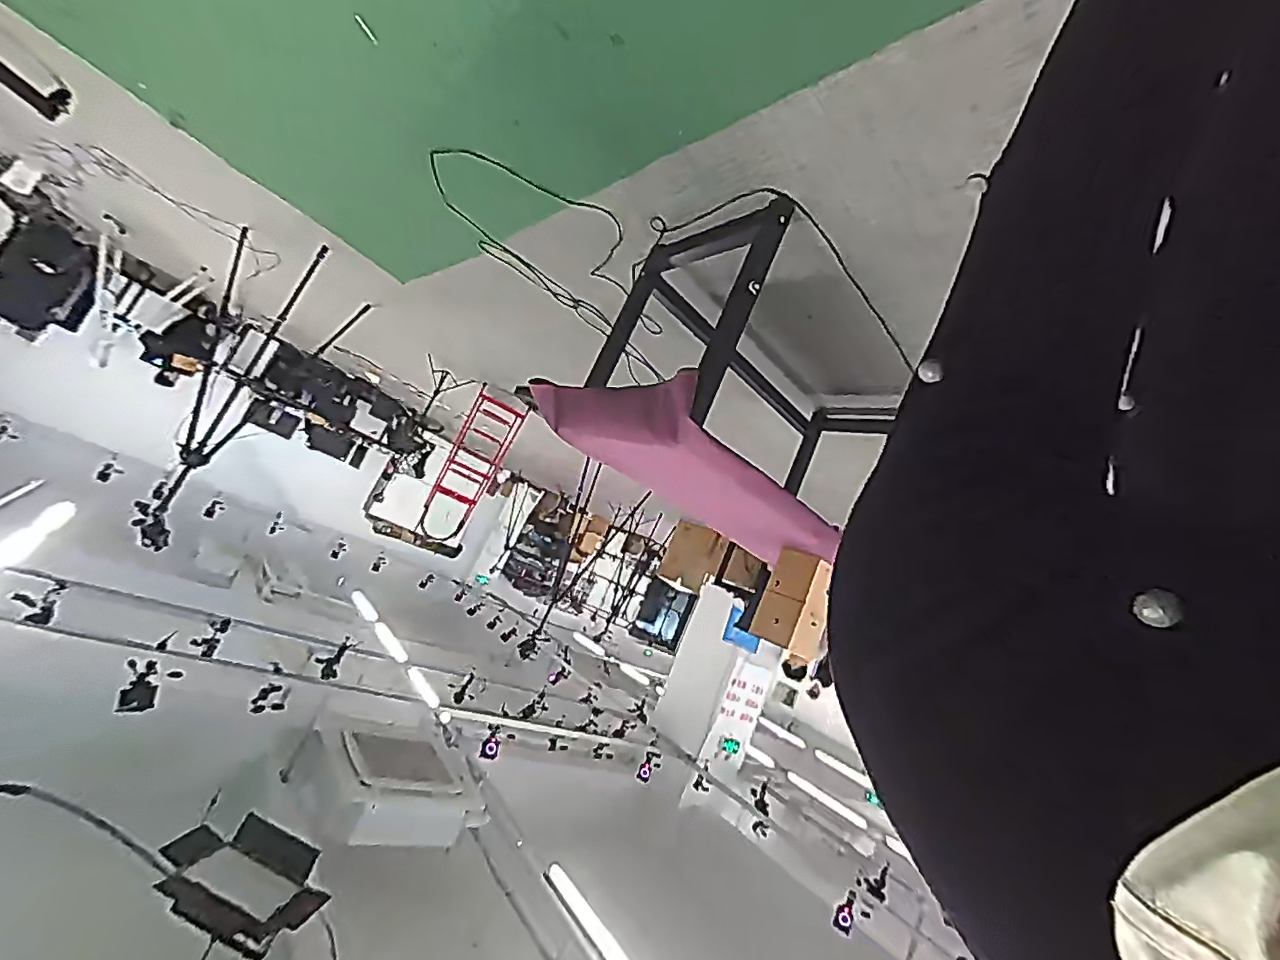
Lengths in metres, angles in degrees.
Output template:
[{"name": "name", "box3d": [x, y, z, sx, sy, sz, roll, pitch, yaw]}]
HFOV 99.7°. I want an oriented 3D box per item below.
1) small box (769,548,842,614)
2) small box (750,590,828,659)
[{"name": "small box", "box3d": [0.597, 0.354, 1.929, 0.168, 0.176, 0.179, 32, 168, -35]}, {"name": "small box", "box3d": [0.527, 0.501, 1.902, 0.168, 0.176, 0.179, 31, 167, -36]}]
